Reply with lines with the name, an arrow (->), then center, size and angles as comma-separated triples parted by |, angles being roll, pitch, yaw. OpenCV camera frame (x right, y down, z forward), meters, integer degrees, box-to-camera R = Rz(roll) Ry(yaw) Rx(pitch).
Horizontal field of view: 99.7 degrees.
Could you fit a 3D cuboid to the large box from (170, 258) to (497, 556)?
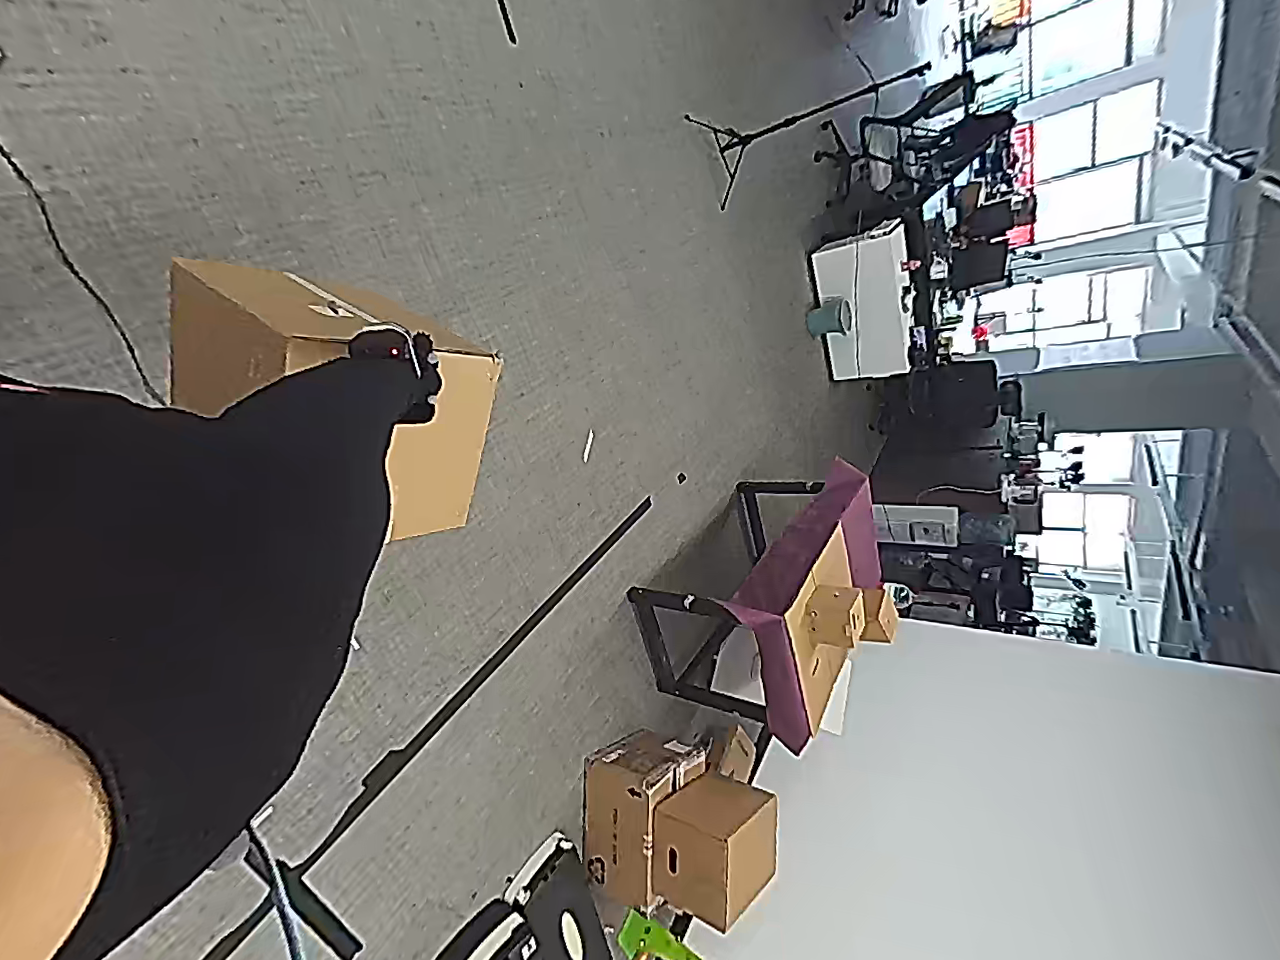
large box -> -0.515, -0.129, 0.896 | 0.320, 0.408, 0.320 | -11, 126, -54
